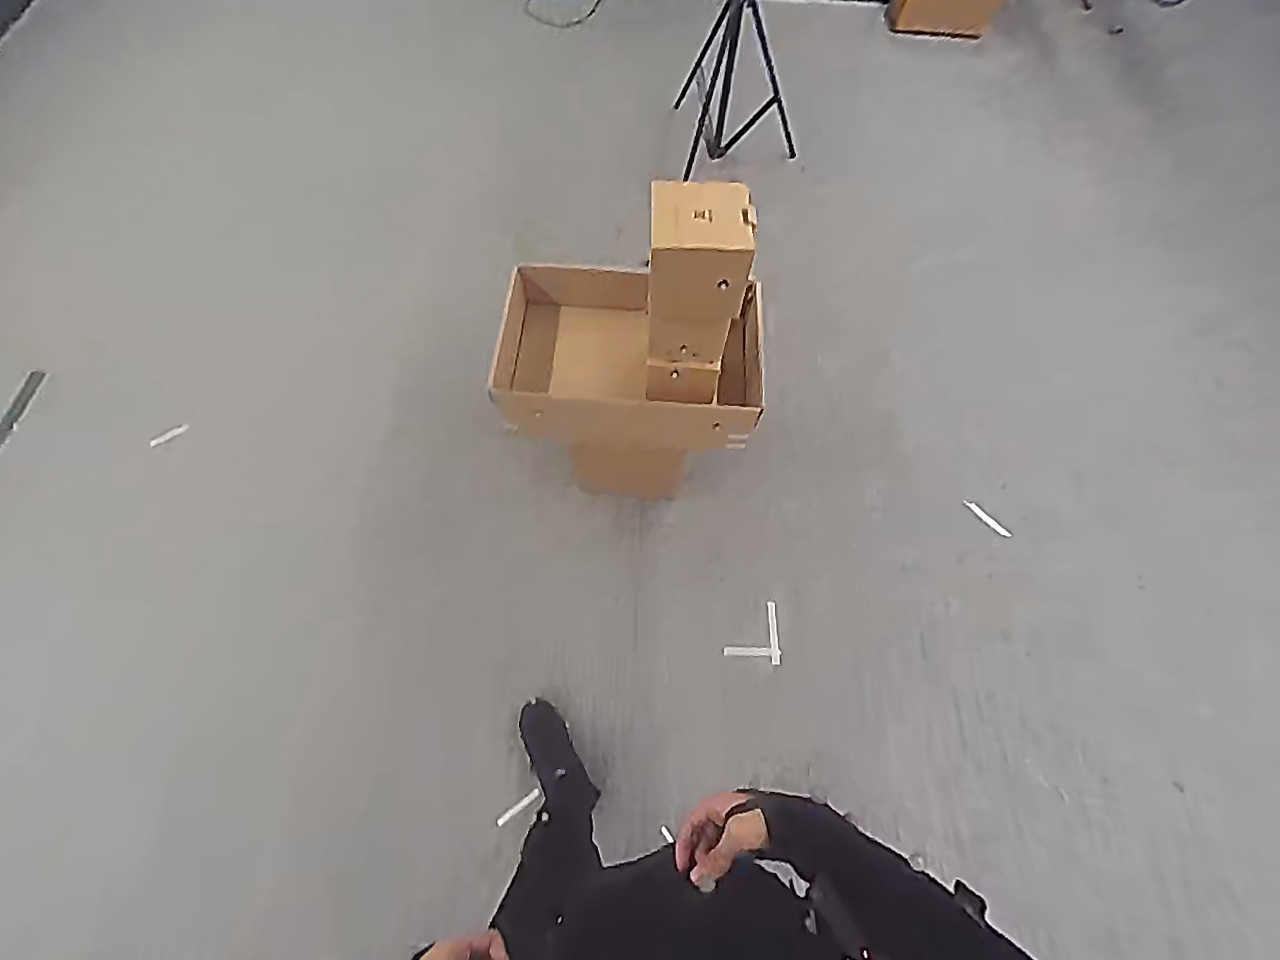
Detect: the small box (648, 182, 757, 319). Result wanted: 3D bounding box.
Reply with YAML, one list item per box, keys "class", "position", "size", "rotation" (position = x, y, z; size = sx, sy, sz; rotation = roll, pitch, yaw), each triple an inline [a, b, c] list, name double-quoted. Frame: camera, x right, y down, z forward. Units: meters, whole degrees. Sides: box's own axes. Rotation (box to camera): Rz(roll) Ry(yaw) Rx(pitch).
- class: "small box"
  position: [0.107, -0.415, 0.996]
  size: [0.179, 0.176, 0.168]
  rotation: [1, 64, -1]
